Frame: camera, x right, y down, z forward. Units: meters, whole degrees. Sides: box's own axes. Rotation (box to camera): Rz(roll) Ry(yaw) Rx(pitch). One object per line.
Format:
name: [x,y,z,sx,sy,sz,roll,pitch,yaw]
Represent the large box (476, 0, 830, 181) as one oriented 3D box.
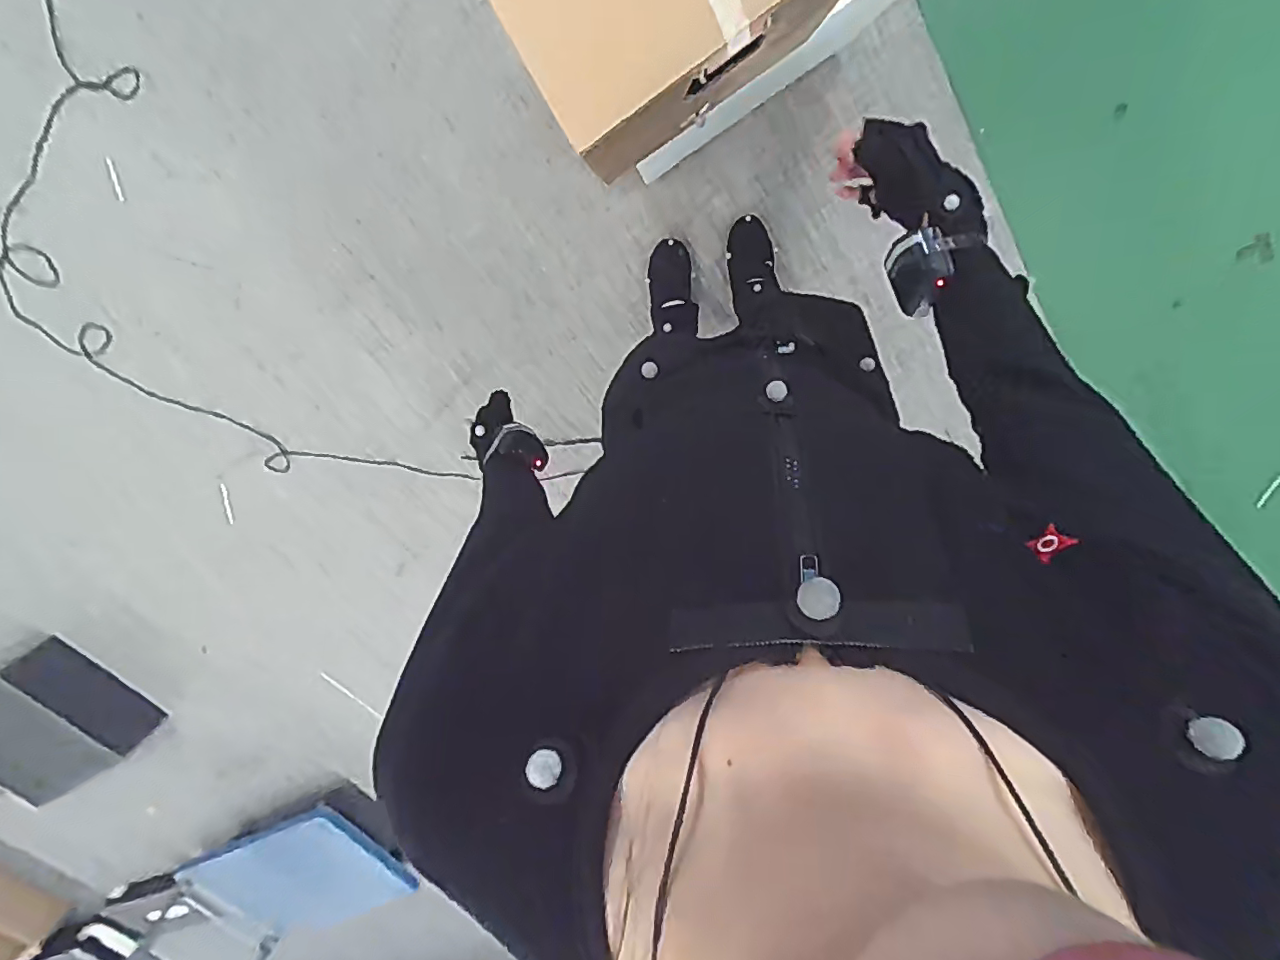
large box: [-0.029,-0.576,0.511,0.320,0.320,0.408,-29,108,14]
